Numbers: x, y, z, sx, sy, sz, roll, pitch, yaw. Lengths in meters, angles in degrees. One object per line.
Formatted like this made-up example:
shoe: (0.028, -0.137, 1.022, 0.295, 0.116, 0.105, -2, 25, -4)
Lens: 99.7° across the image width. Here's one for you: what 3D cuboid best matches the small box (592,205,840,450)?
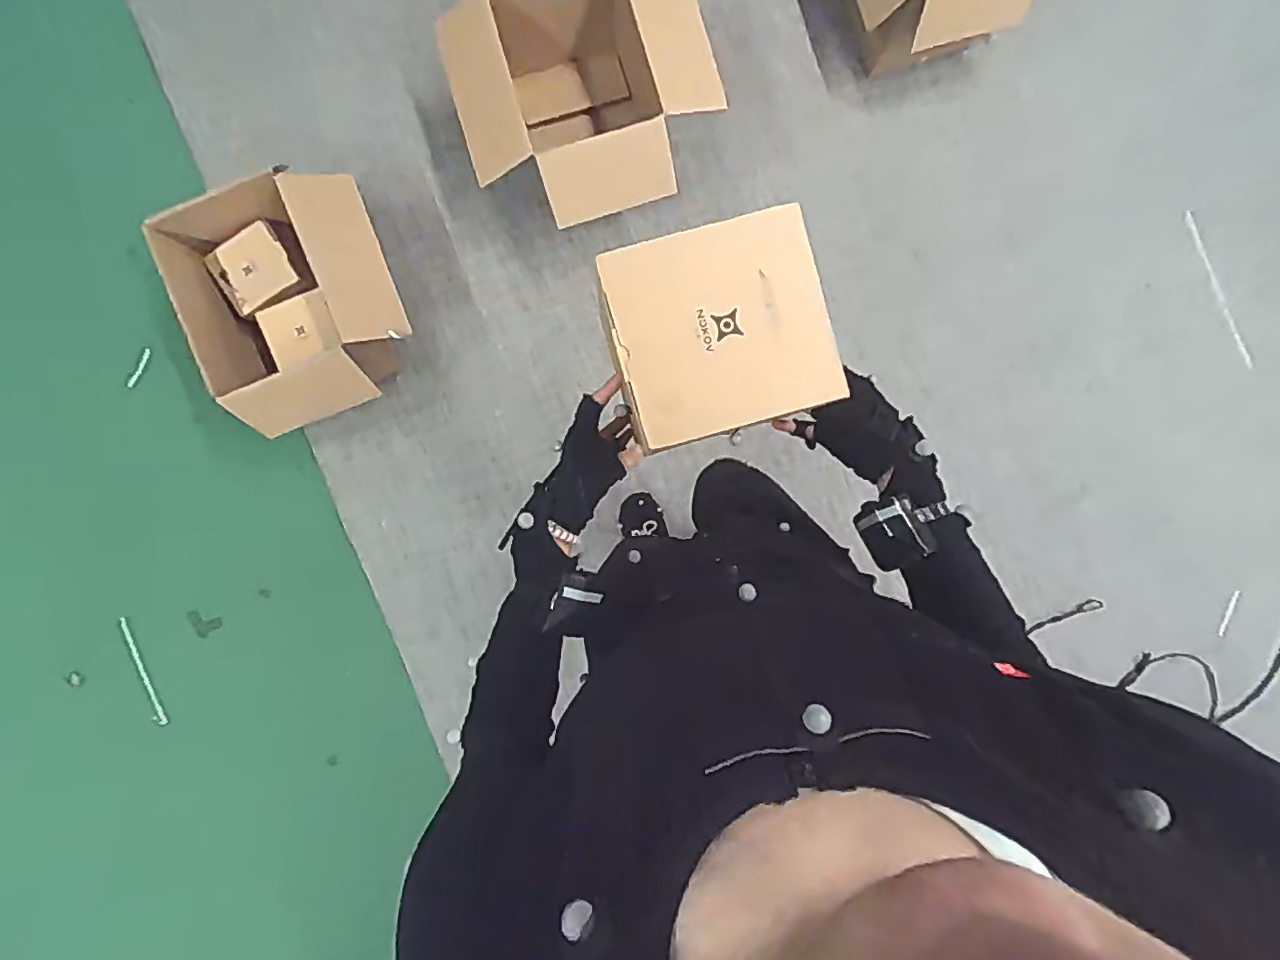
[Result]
small box: (0.062, -0.128, 0.523, 0.179, 0.176, 0.168, -15, 92, -1)
